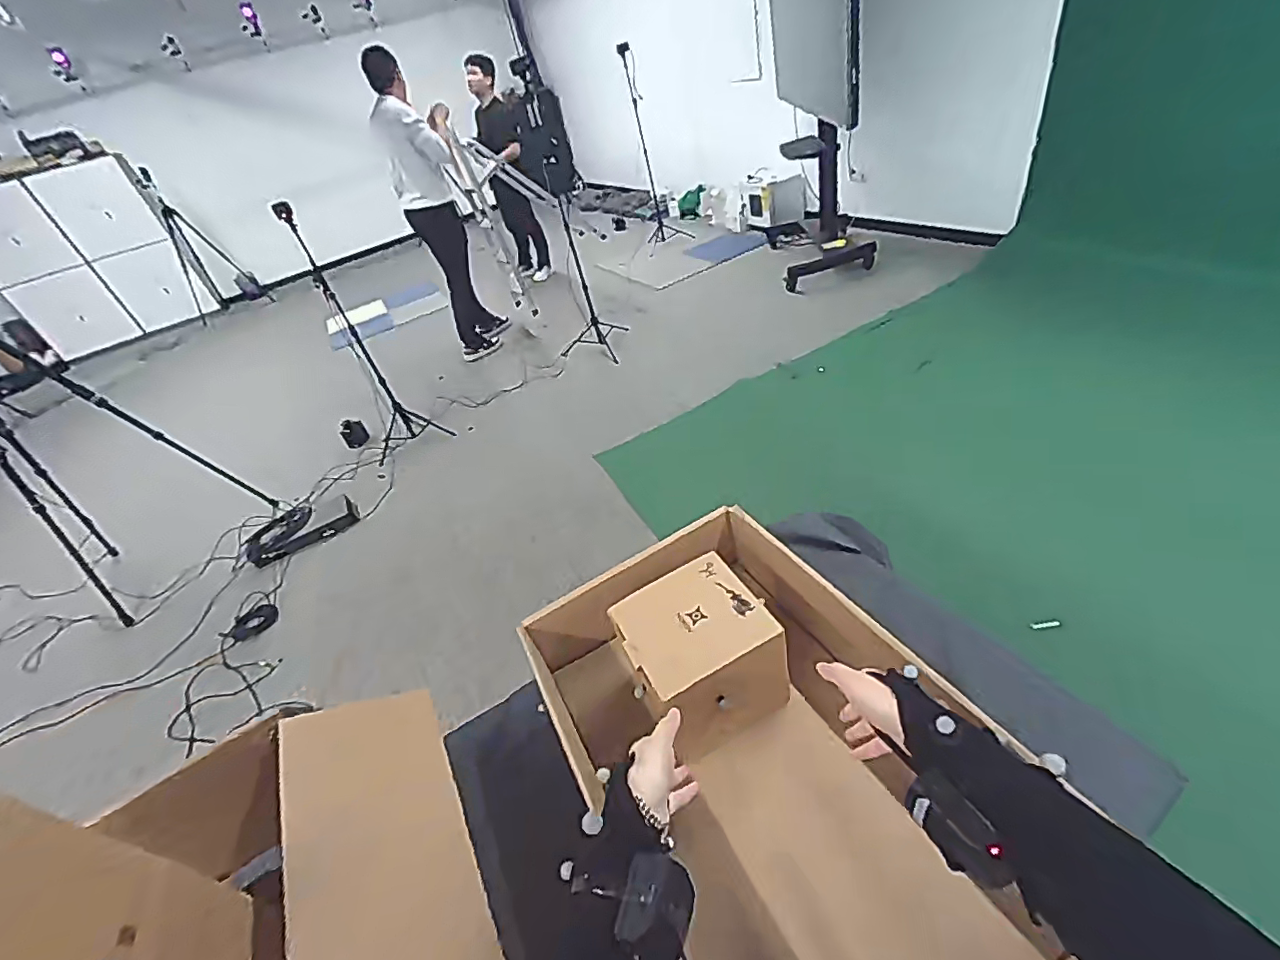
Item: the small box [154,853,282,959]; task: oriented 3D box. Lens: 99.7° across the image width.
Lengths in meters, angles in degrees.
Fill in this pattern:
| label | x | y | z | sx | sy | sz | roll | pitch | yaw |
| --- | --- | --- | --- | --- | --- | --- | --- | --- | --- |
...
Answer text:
| label | x | y | z | sx | sy | sz | roll | pitch | yaw |
| --- | --- | --- | --- | --- | --- | --- | --- | --- | --- |
| small box | -0.423 | 0.459 | 0.438 | 0.168 | 0.176 | 0.179 | -26 | 41 | -13 |
